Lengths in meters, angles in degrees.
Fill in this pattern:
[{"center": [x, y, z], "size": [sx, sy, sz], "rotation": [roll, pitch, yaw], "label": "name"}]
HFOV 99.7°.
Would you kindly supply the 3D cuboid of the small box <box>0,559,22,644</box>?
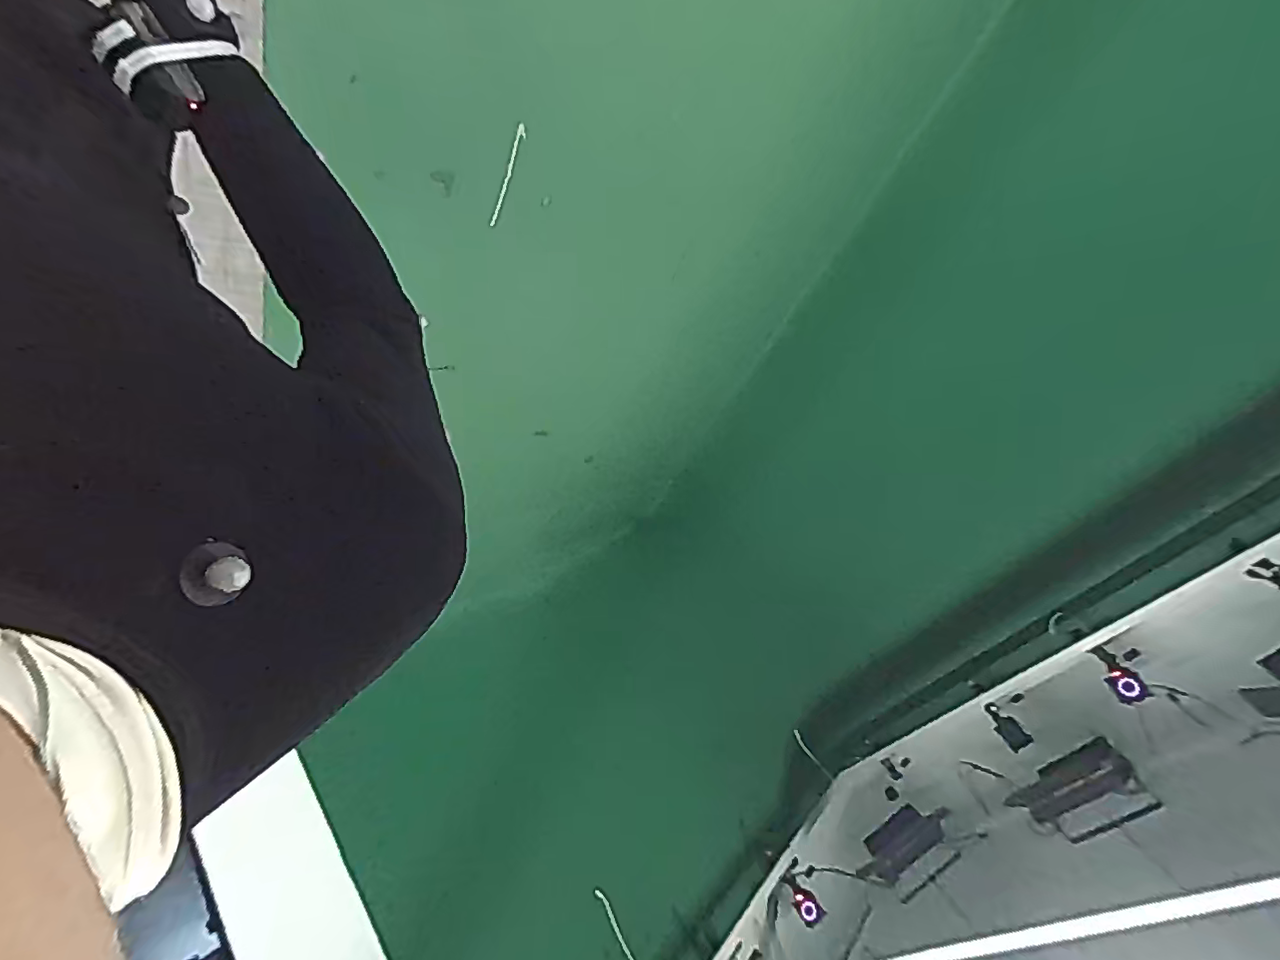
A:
[{"center": [-1.681, 0.311, 1.339], "size": [0.168, 0.176, 0.179], "rotation": [-14, 144, -50], "label": "small box"}]
